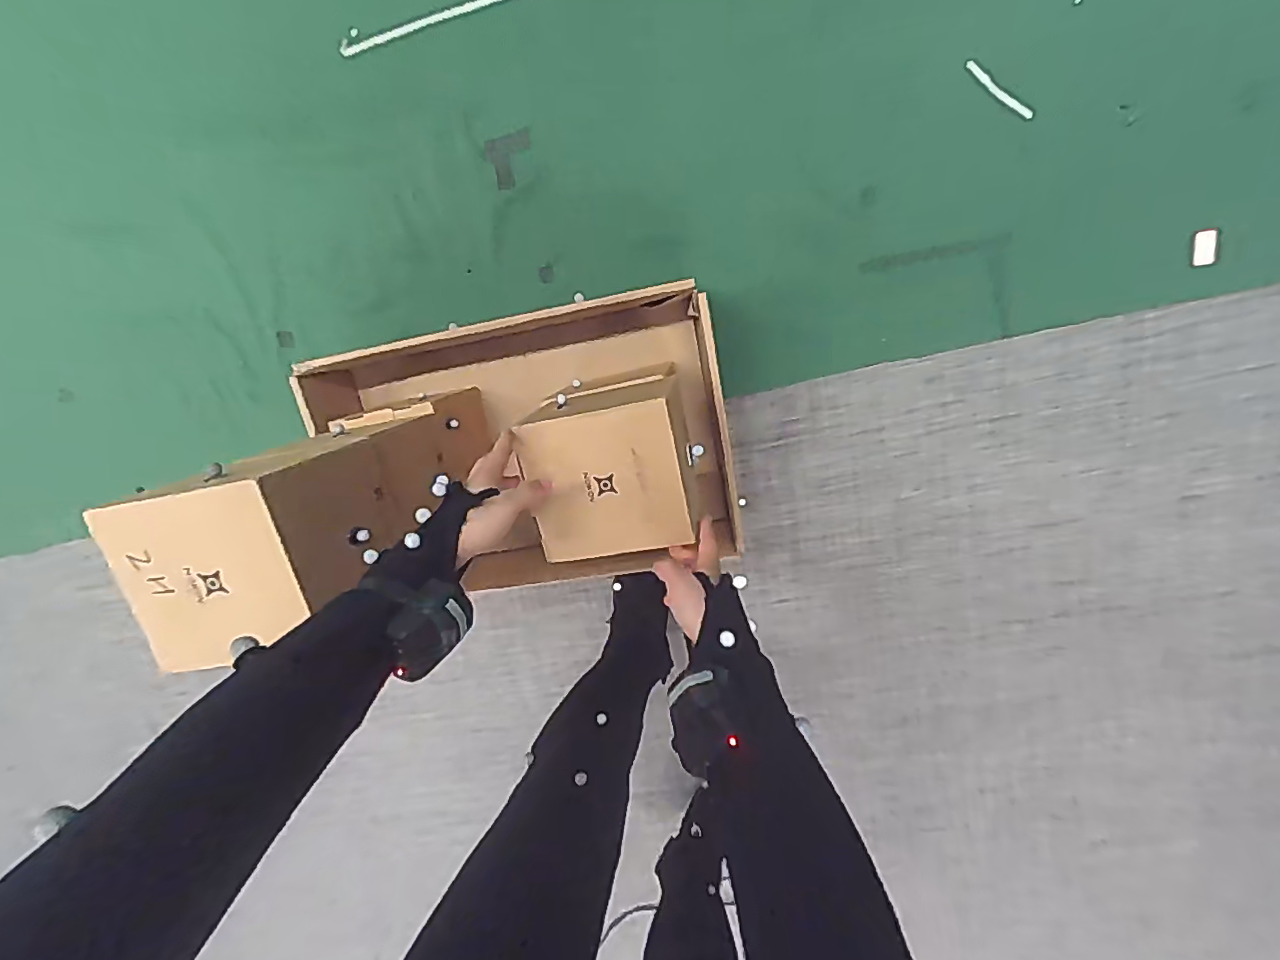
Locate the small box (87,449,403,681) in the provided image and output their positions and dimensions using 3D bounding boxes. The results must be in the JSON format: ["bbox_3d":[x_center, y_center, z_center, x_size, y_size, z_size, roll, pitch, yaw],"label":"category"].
[{"bbox_3d":[-0.369,0.075,0.550,0.179,0.176,0.168,-10,105,9],"label":"small box"}]

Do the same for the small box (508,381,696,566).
[{"bbox_3d":[-0.032,-0.015,0.659,0.179,0.176,0.168,-11,107,10],"label":"small box"}]

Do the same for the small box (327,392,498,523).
[{"bbox_3d":[-0.345,-0.030,0.861,0.168,0.176,0.179,-10,106,9],"label":"small box"}]

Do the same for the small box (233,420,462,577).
[{"bbox_3d":[-0.364,0.027,0.708,0.179,0.176,0.168,-10,106,8],"label":"small box"}]
